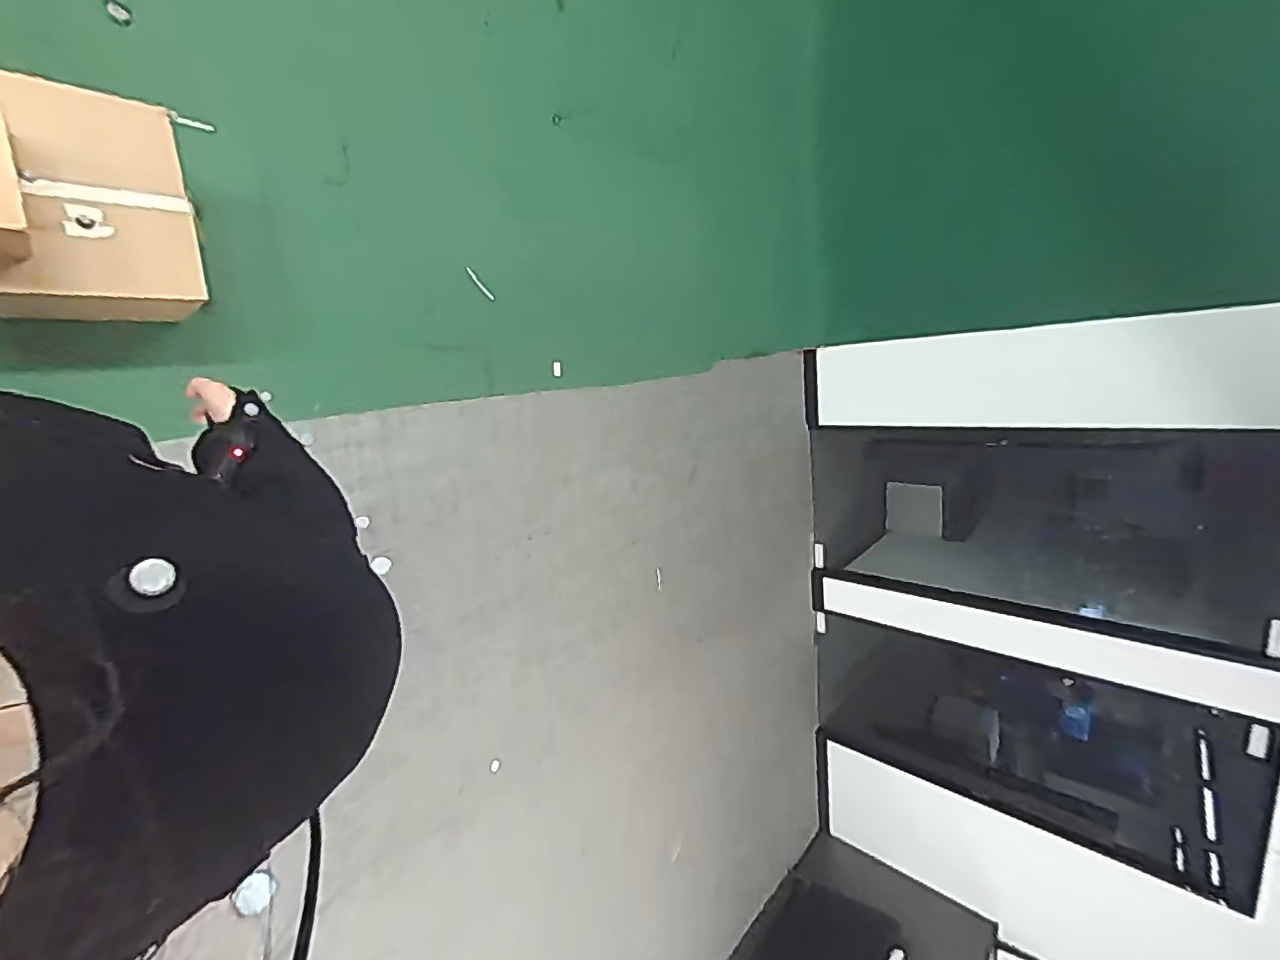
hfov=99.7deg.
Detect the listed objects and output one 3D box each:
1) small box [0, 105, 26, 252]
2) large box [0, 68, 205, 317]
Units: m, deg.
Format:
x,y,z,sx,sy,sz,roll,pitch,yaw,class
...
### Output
x,y,z,sx,sy,sz,roll,pitch,yaw,class
-0.898,-0.398,0.666,0.168,0.176,0.179,-13,105,-46,small box
-1.023,-0.446,0.885,0.408,0.320,0.320,-16,107,-46,large box
